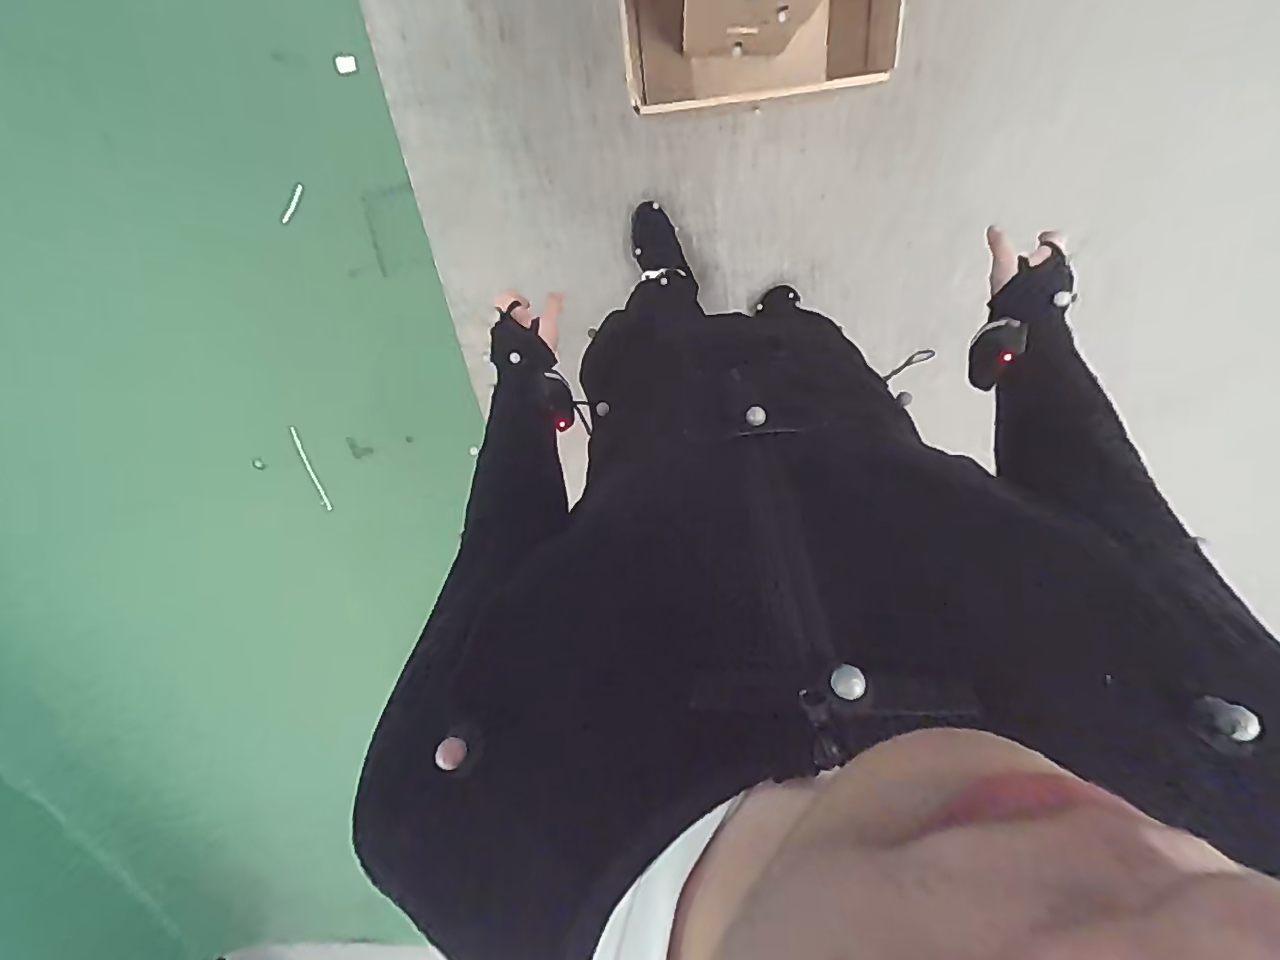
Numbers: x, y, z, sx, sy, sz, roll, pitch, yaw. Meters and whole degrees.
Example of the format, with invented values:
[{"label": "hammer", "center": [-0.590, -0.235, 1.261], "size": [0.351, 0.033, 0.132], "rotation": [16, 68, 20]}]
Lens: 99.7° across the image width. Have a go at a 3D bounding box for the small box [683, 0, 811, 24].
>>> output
[{"label": "small box", "center": [0.136, -0.670, 0.643], "size": [0.168, 0.176, 0.179], "rotation": [1, 117, 3]}]
